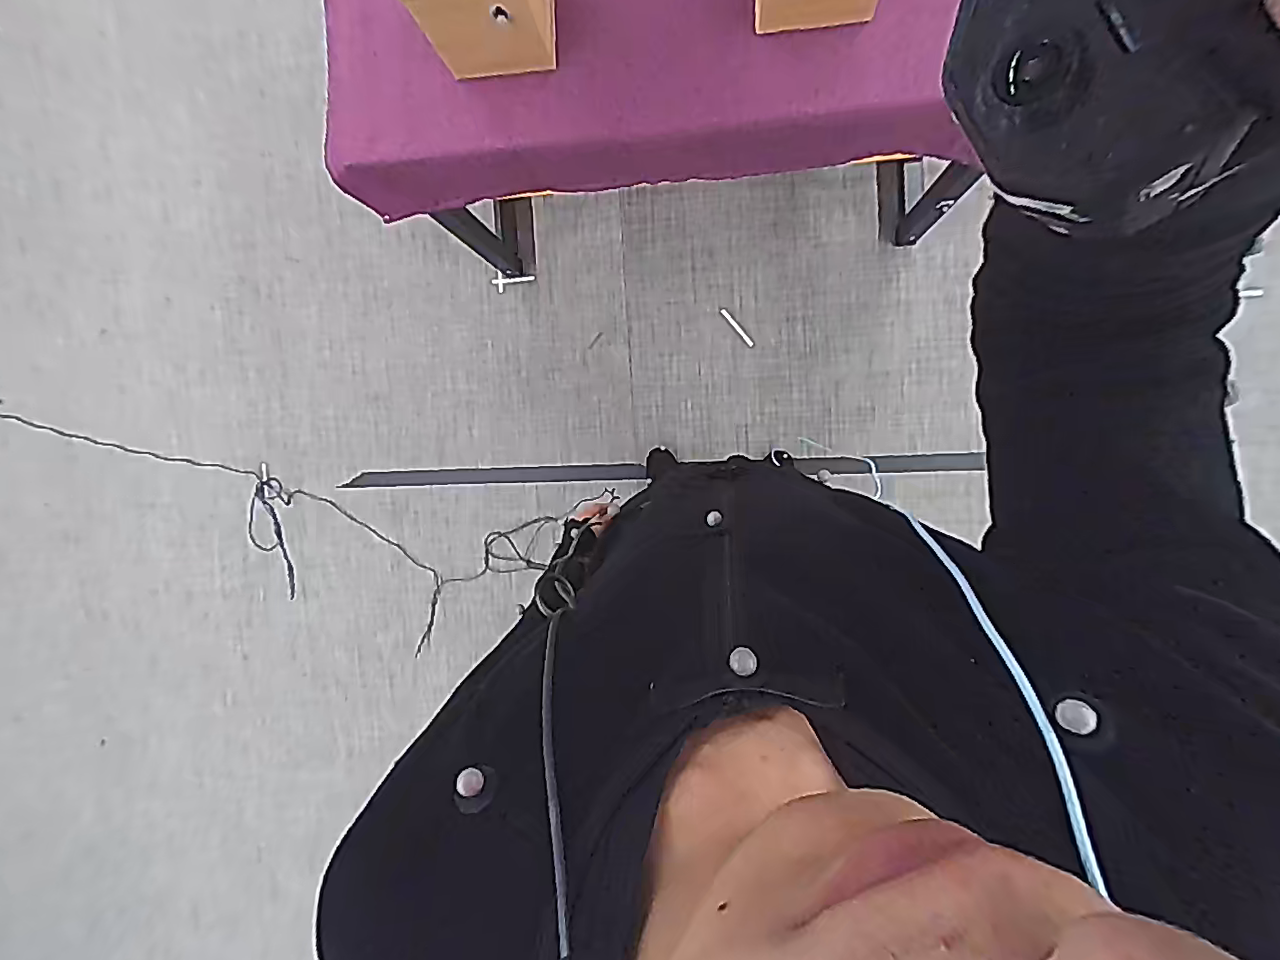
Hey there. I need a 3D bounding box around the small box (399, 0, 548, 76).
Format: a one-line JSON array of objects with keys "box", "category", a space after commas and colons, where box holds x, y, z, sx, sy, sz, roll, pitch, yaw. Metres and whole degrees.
[{"box": [-0.239, -0.746, 0.808, 0.179, 0.176, 0.168, 0, 94, 7], "category": "small box"}]

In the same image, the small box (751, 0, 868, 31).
[{"box": [0.245, -0.770, 0.748, 0.179, 0.176, 0.168, -1, 93, 7], "category": "small box"}]
